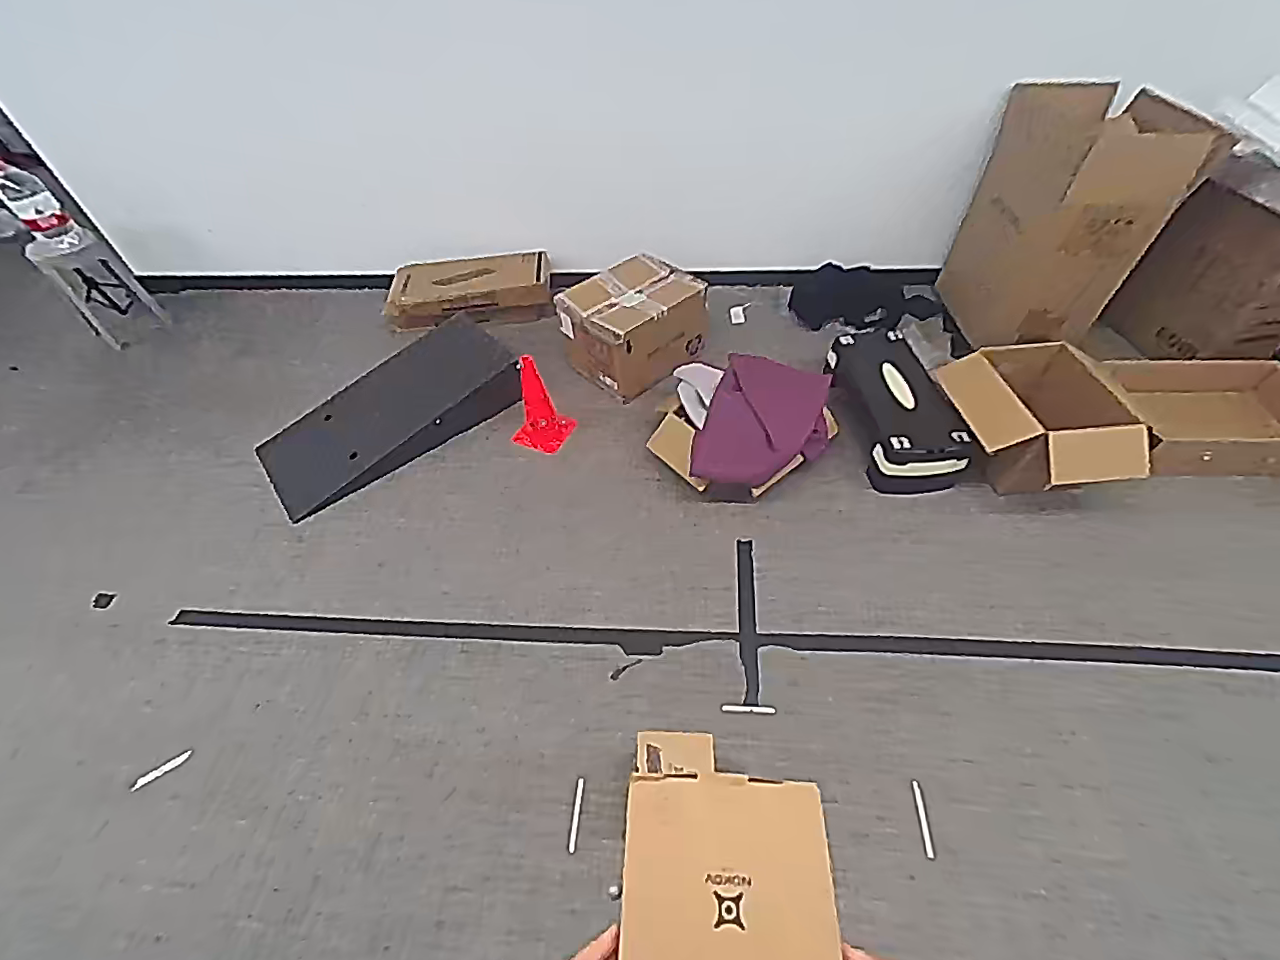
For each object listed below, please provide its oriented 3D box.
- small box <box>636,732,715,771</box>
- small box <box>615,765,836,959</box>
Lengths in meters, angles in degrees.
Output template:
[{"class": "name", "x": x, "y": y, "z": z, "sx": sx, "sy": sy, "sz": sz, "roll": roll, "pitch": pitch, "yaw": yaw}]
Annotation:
[{"class": "small box", "x": 0.082, "y": 0.693, "z": 1.243, "sx": 0.179, "sy": 0.176, "sz": 0.168, "roll": 0, "pitch": 50, "yaw": 4}, {"class": "small box", "x": 0.066, "y": 0.373, "z": 0.483, "sx": 0.168, "sy": 0.176, "sz": 0.179, "roll": 2, "pitch": 51, "yaw": 3}]
